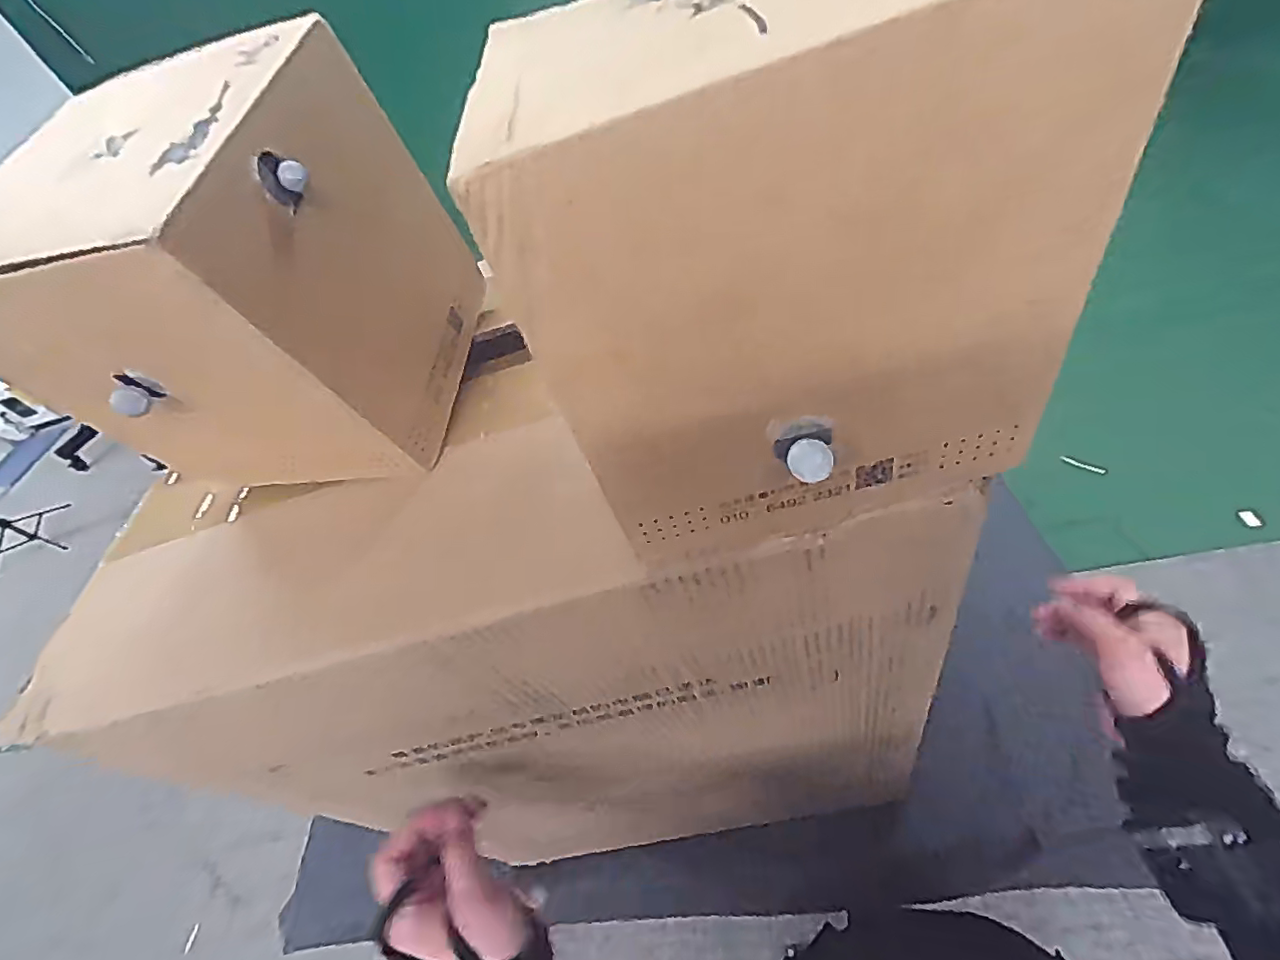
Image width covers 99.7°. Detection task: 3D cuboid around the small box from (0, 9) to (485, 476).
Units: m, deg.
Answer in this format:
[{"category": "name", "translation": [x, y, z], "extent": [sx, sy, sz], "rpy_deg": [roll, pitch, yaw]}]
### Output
[{"category": "small box", "translation": [-0.221, -0.112, 0.313], "extent": [0.179, 0.176, 0.168], "rpy_deg": [-3, 62, 16]}]
